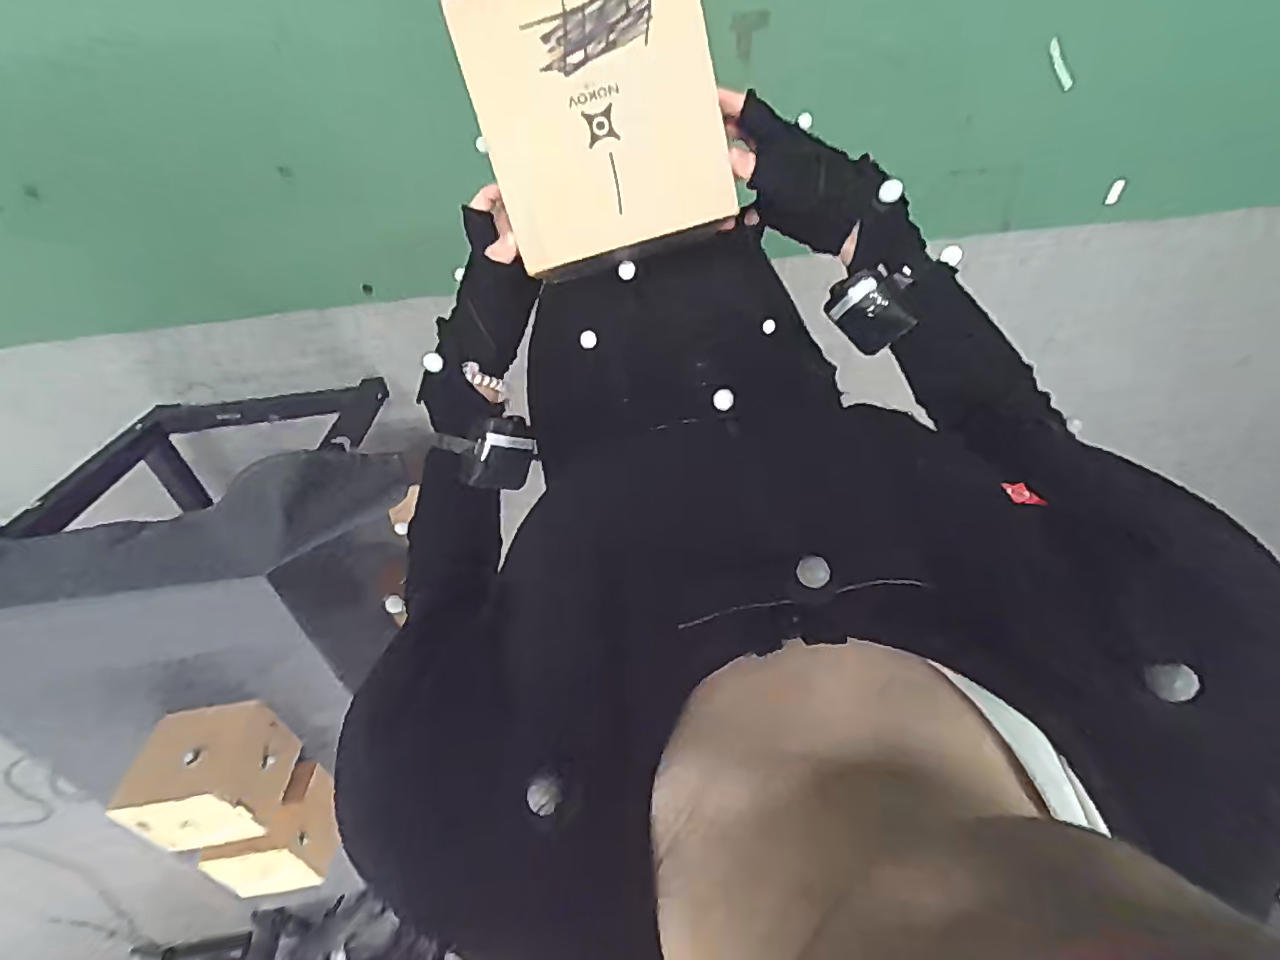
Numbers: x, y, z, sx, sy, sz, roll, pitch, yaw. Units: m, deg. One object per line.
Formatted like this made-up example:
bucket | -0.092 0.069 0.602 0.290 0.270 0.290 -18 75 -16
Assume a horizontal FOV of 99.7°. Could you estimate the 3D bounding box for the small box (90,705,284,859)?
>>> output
small box | -0.756 0.515 0.935 0.179 0.176 0.168 -10 127 -3
